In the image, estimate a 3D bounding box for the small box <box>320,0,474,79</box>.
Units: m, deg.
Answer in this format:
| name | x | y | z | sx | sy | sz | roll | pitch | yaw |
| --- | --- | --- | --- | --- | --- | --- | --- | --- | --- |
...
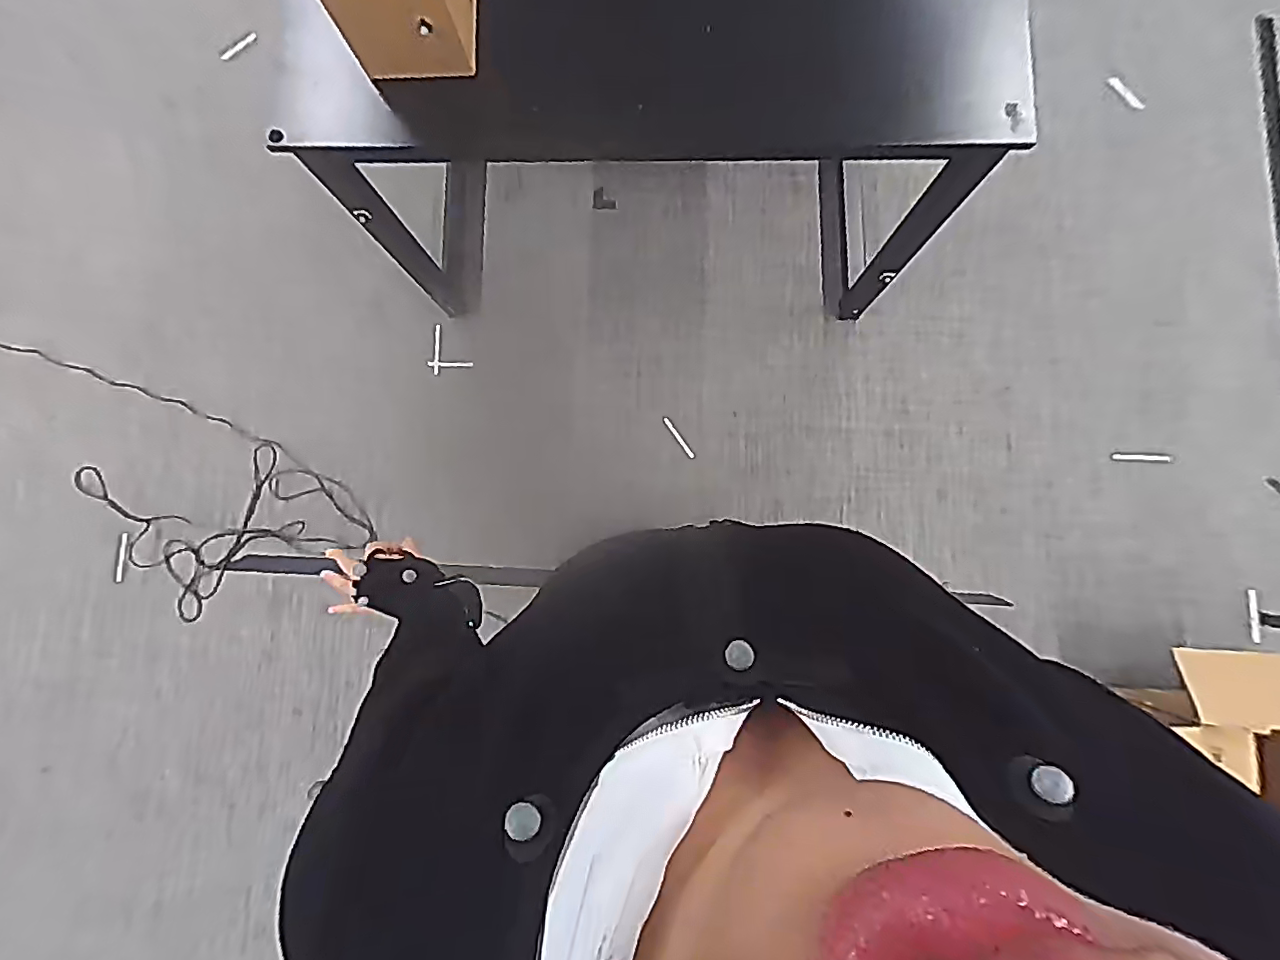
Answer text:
| name | x | y | z | sx | sy | sz | roll | pitch | yaw |
| --- | --- | --- | --- | --- | --- | --- | --- | --- | --- |
| small box | -0.355 | -0.738 | 0.802 | 0.179 | 0.176 | 0.168 | -1 | 83 | 2 |
